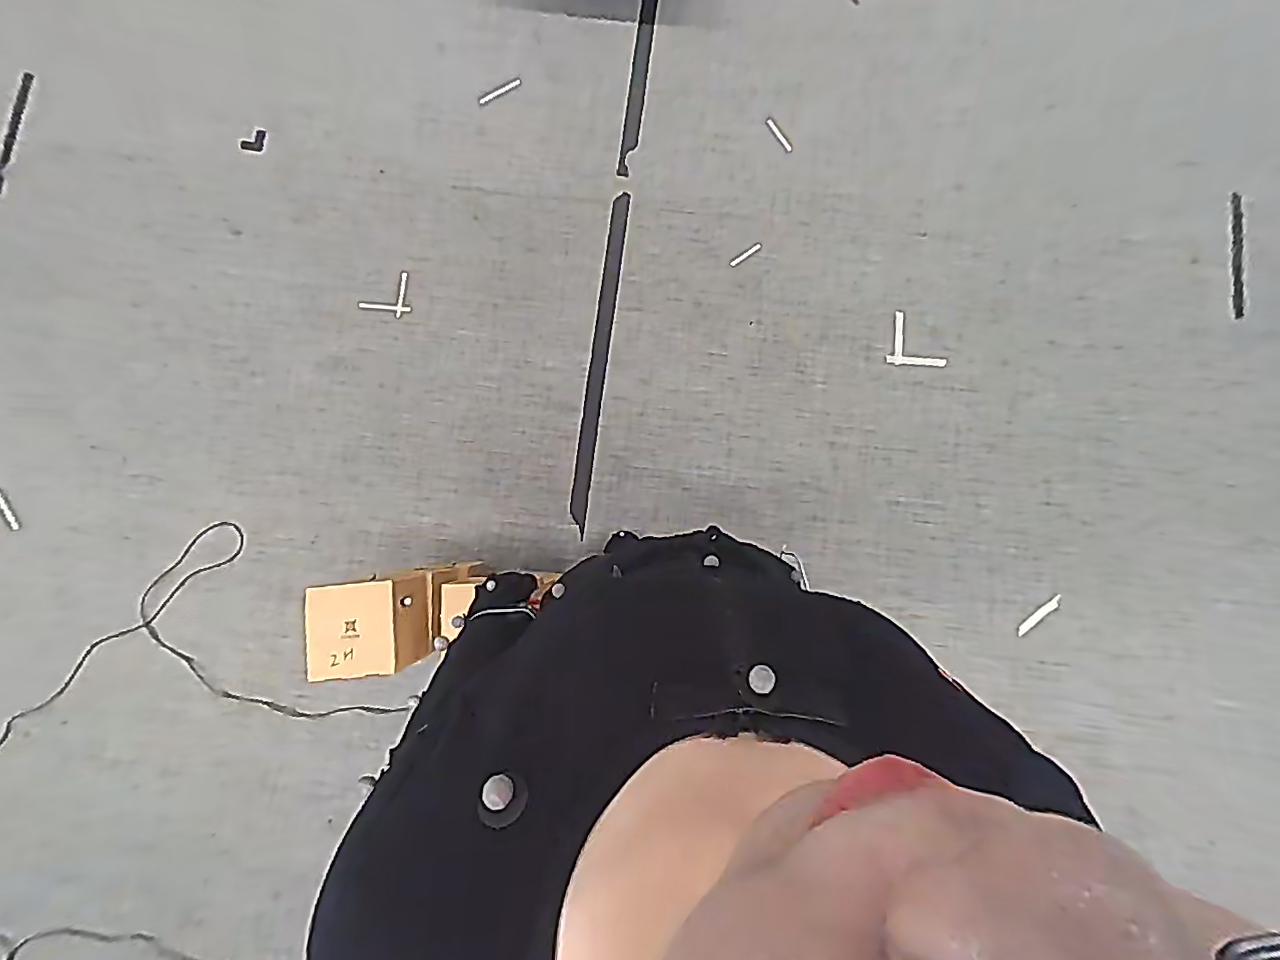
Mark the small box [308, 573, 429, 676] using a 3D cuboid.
[{"bbox_3d":[-0.541,0.282,1.093,0.168,0.176,0.179,-5,84,-1],"label":"small box"}]

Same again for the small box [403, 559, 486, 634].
[{"bbox_3d":[-0.510,0.304,1.422,0.168,0.176,0.179,-3,84,-1],"label":"small box"}]

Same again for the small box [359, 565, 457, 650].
[{"bbox_3d":[-0.535,0.292,1.258,0.168,0.176,0.179,-2,83,-1],"label":"small box"}]

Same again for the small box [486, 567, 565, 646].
[{"bbox_3d":[-0.293,0.326,1.422,0.168,0.176,0.179,4,85,1],"label":"small box"}]
